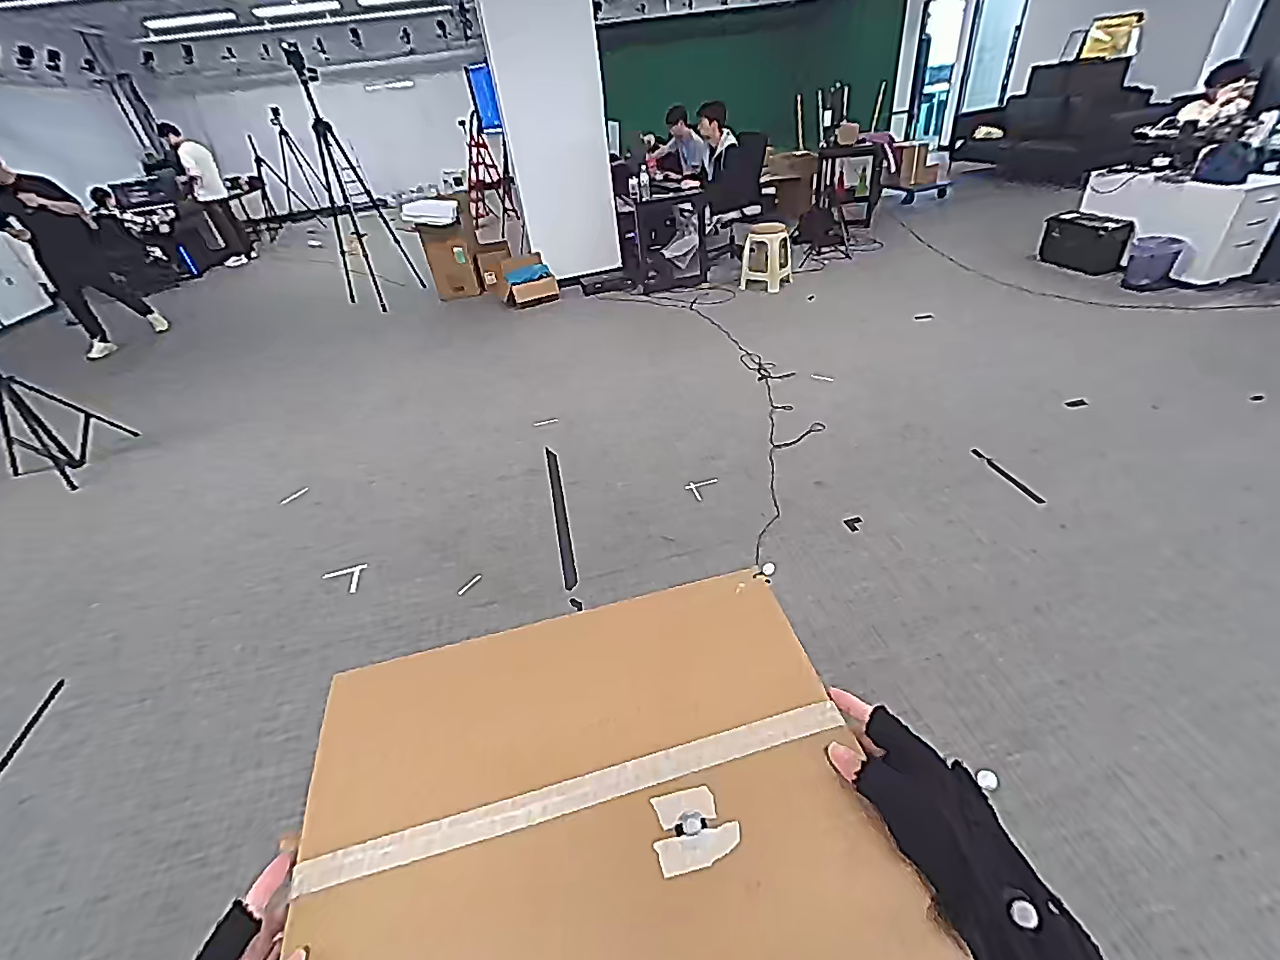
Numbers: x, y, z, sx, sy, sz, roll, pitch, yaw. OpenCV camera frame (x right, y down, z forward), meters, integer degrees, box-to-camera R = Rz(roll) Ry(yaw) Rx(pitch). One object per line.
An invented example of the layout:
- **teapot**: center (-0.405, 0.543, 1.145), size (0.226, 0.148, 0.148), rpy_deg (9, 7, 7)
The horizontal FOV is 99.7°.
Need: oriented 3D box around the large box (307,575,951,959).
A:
- **large box**: center (-0.026, 0.346, 0.507), size (0.408, 0.320, 0.320), rpy_deg (-12, 43, -9)
